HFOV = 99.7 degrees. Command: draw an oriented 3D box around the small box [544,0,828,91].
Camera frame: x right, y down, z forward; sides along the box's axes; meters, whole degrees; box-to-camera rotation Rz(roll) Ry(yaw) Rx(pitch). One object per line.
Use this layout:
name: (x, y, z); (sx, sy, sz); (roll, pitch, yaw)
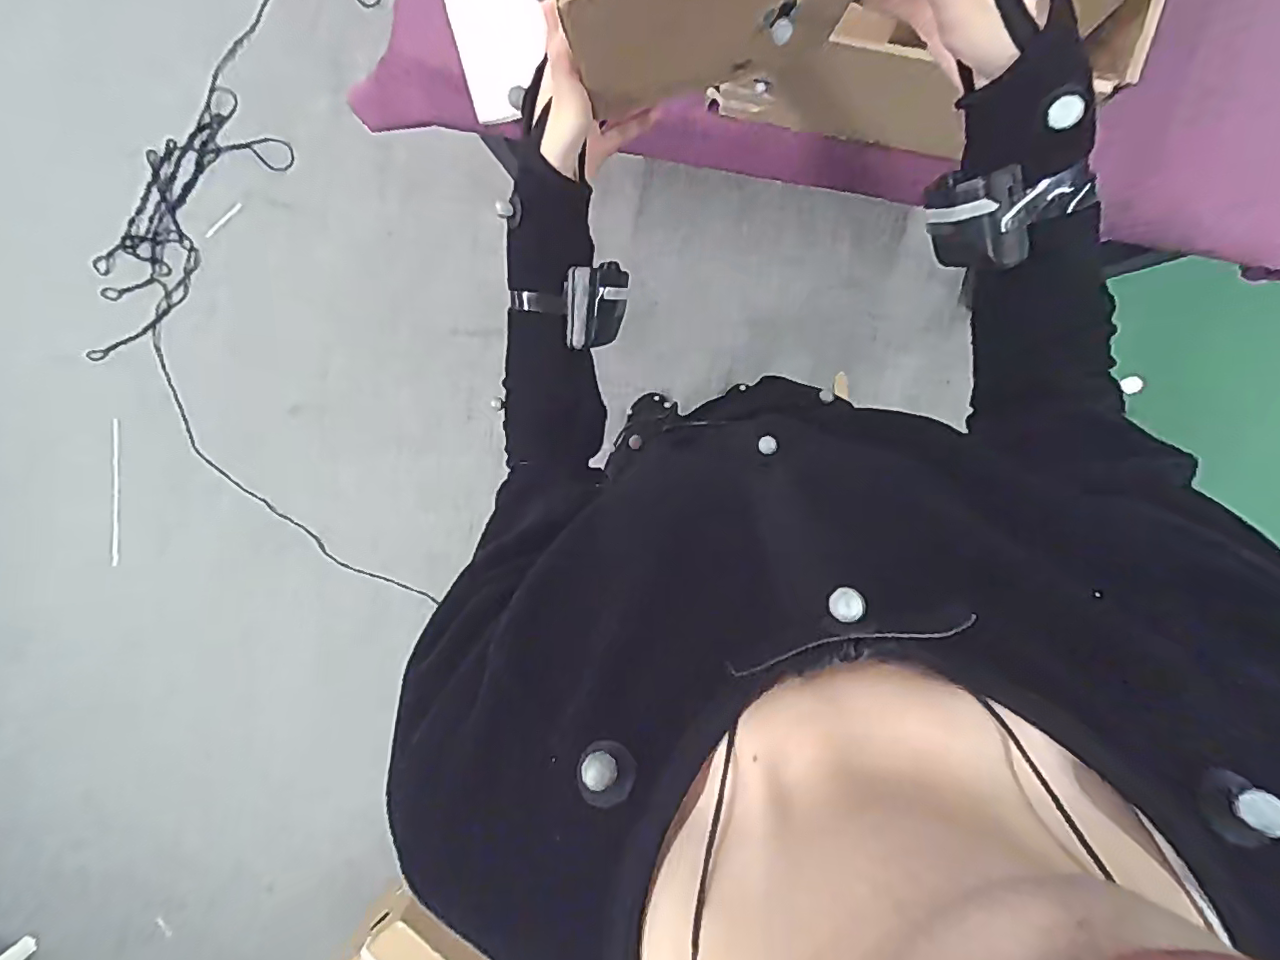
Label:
small box: (0.020, -0.340, 0.284); (0.168, 0.176, 0.179); (-11, 106, 6)
